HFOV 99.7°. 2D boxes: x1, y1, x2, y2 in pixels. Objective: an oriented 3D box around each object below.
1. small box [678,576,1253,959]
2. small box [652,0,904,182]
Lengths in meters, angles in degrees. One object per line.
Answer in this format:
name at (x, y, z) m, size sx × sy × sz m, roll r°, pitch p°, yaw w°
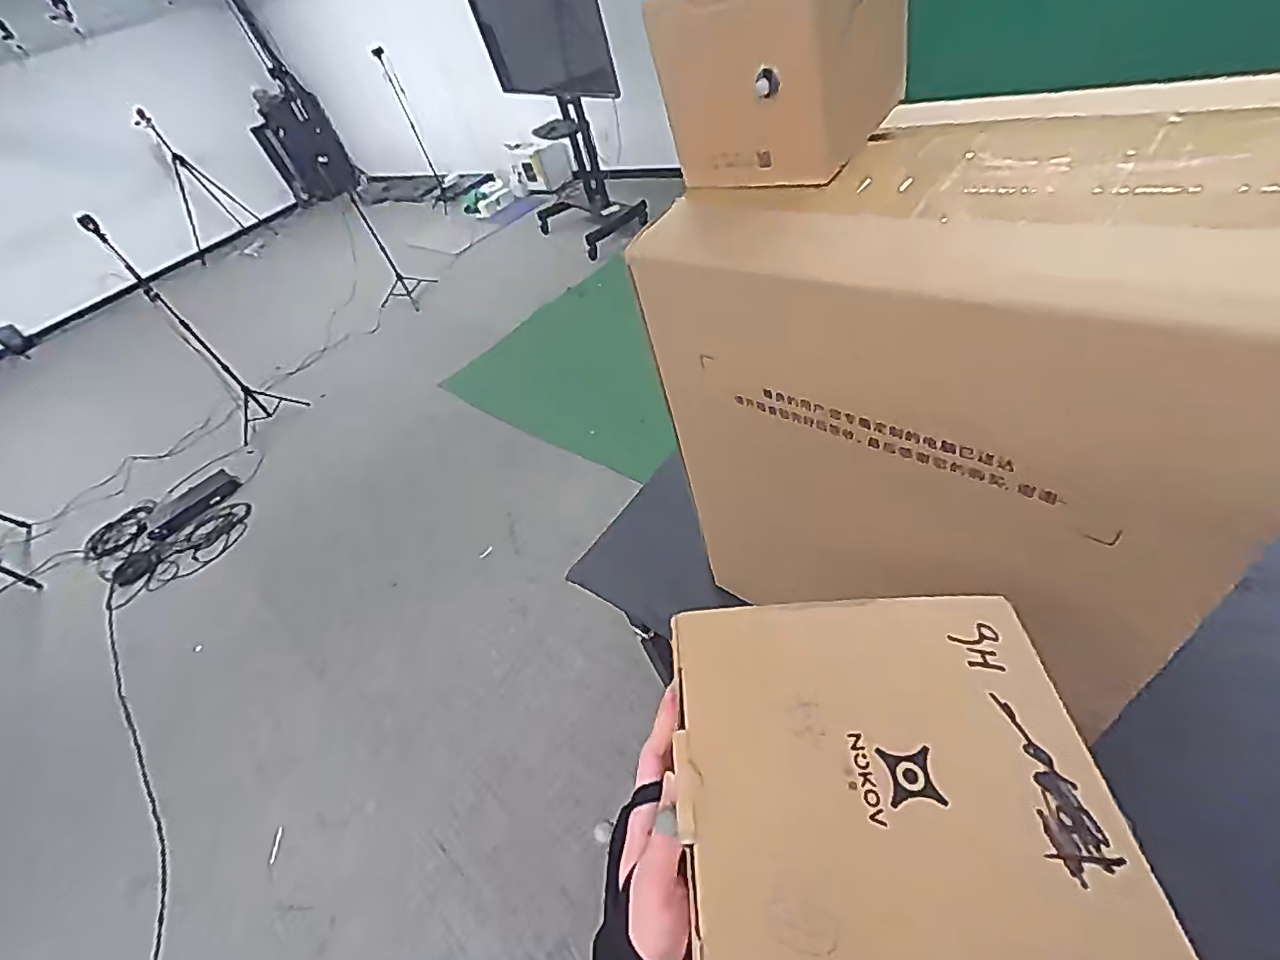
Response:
small box at (0.114, 0.168, 0.278) m, size 0.179 × 0.176 × 0.168 m, roll -3°, pitch 47°, yaw 2°
small box at (0.143, -0.407, 0.519) m, size 0.168 × 0.176 × 0.179 m, roll 22°, pitch 60°, yaw 35°
